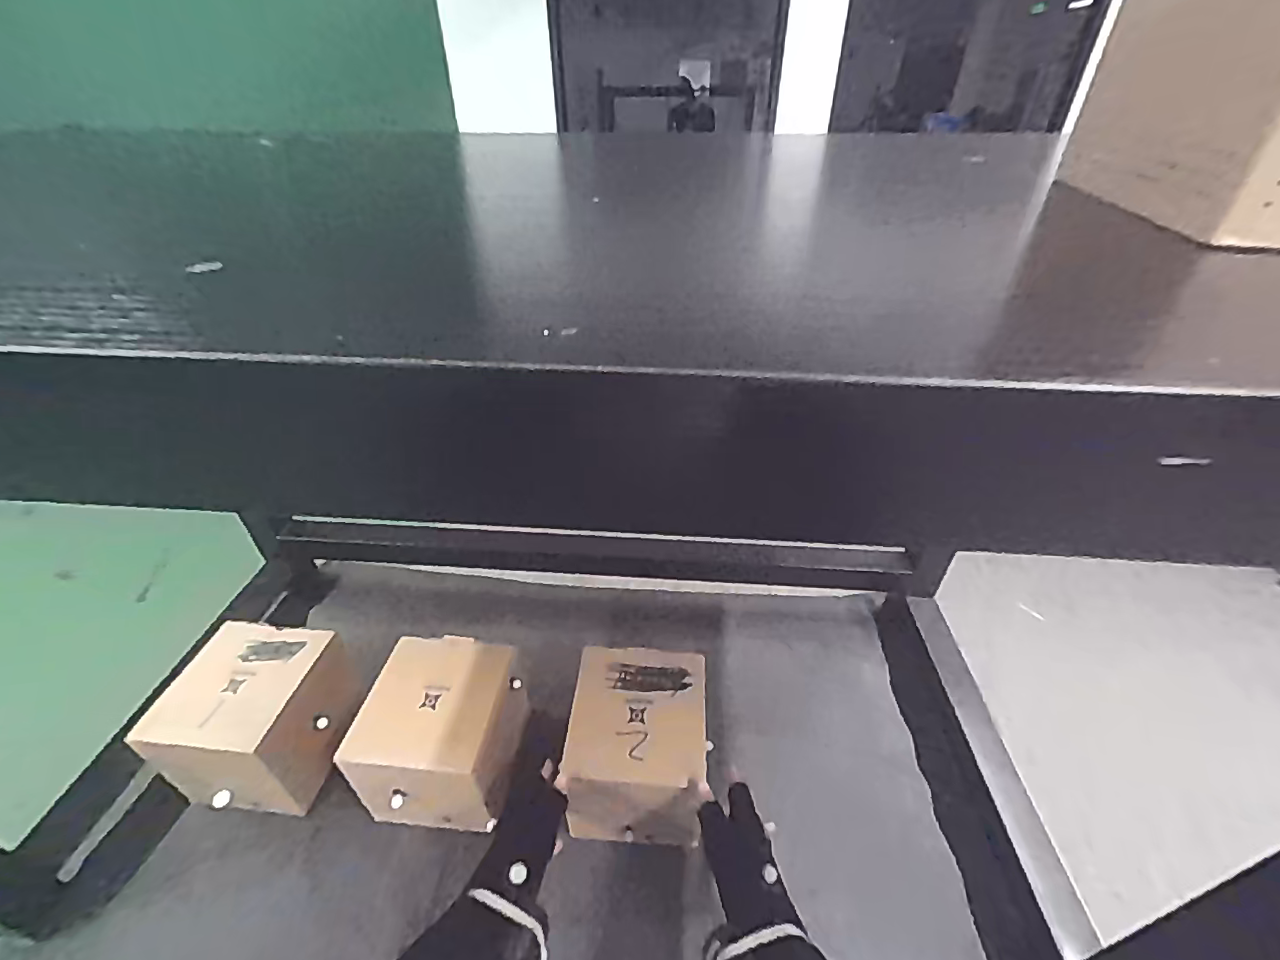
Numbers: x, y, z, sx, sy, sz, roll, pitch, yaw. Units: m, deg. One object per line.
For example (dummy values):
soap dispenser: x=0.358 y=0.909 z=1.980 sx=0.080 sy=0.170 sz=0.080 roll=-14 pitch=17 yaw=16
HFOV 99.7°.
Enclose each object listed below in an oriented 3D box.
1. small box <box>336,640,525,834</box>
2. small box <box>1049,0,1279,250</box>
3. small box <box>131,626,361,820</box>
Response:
small box: x=-0.261 y=0.344 z=0.727 sx=0.168 sy=0.176 sz=0.179 roll=3 pitch=36 yaw=4
small box: x=0.296 y=-0.177 z=0.195 sx=0.168 sy=0.176 sz=0.179 roll=9 pitch=37 yaw=13
small box: x=-0.513 y=0.329 z=0.743 sx=0.168 sy=0.176 sz=0.179 roll=3 pitch=36 yaw=5
